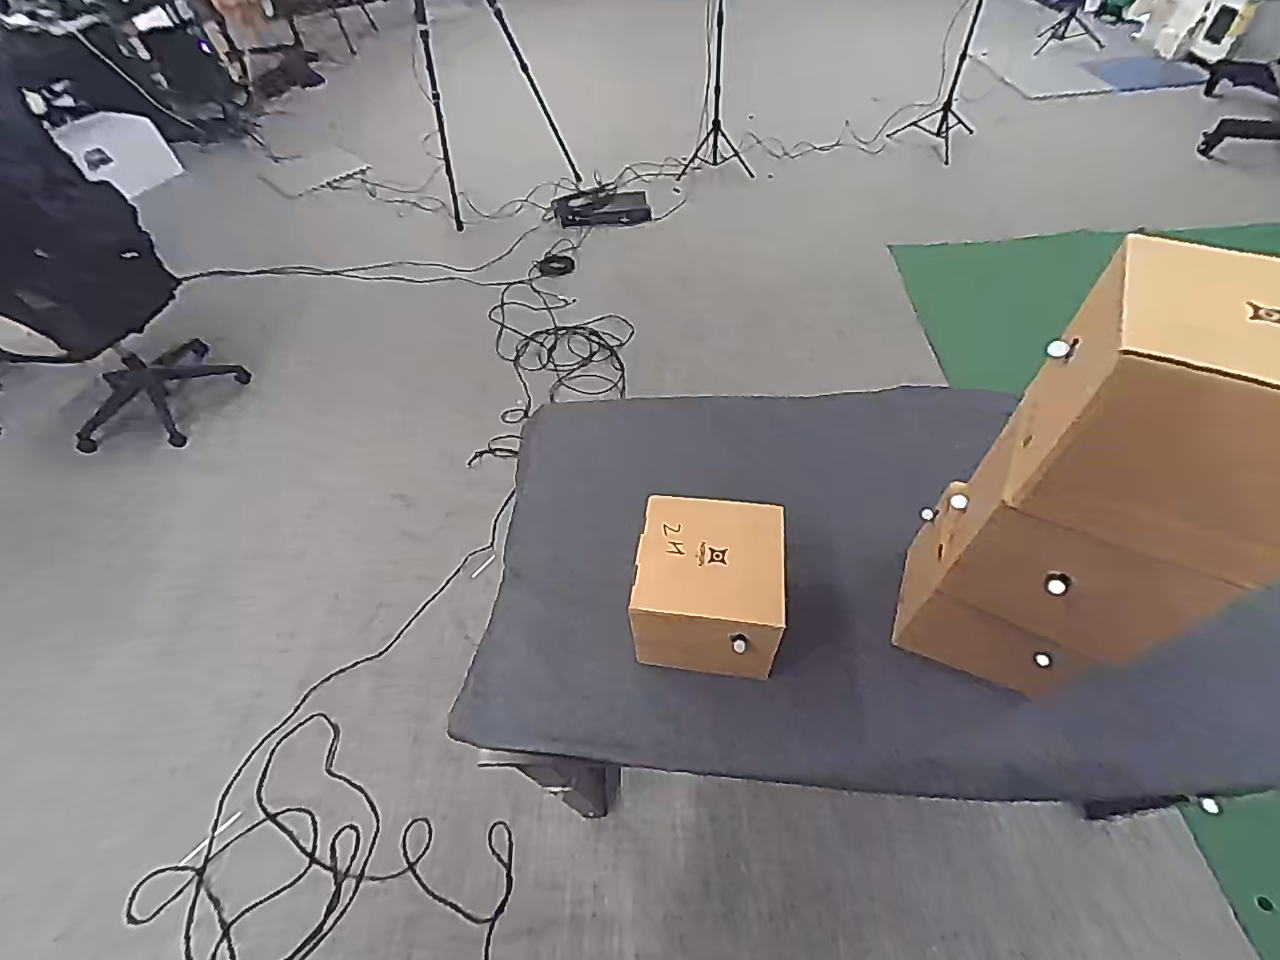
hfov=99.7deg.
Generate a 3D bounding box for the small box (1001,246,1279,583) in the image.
[{"bbox_3d":[0.415,-0.049,0.416,0.179,0.176,0.168,23,56,20],"label":"small box"}]

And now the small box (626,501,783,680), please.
[{"bbox_3d":[0.086,0.148,0.708,0.179,0.176,0.168,4,51,9],"label":"small box"}]

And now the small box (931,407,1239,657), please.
[{"bbox_3d":[0.428,0.053,0.542,0.179,0.176,0.168,24,57,22],"label":"small box"}]
